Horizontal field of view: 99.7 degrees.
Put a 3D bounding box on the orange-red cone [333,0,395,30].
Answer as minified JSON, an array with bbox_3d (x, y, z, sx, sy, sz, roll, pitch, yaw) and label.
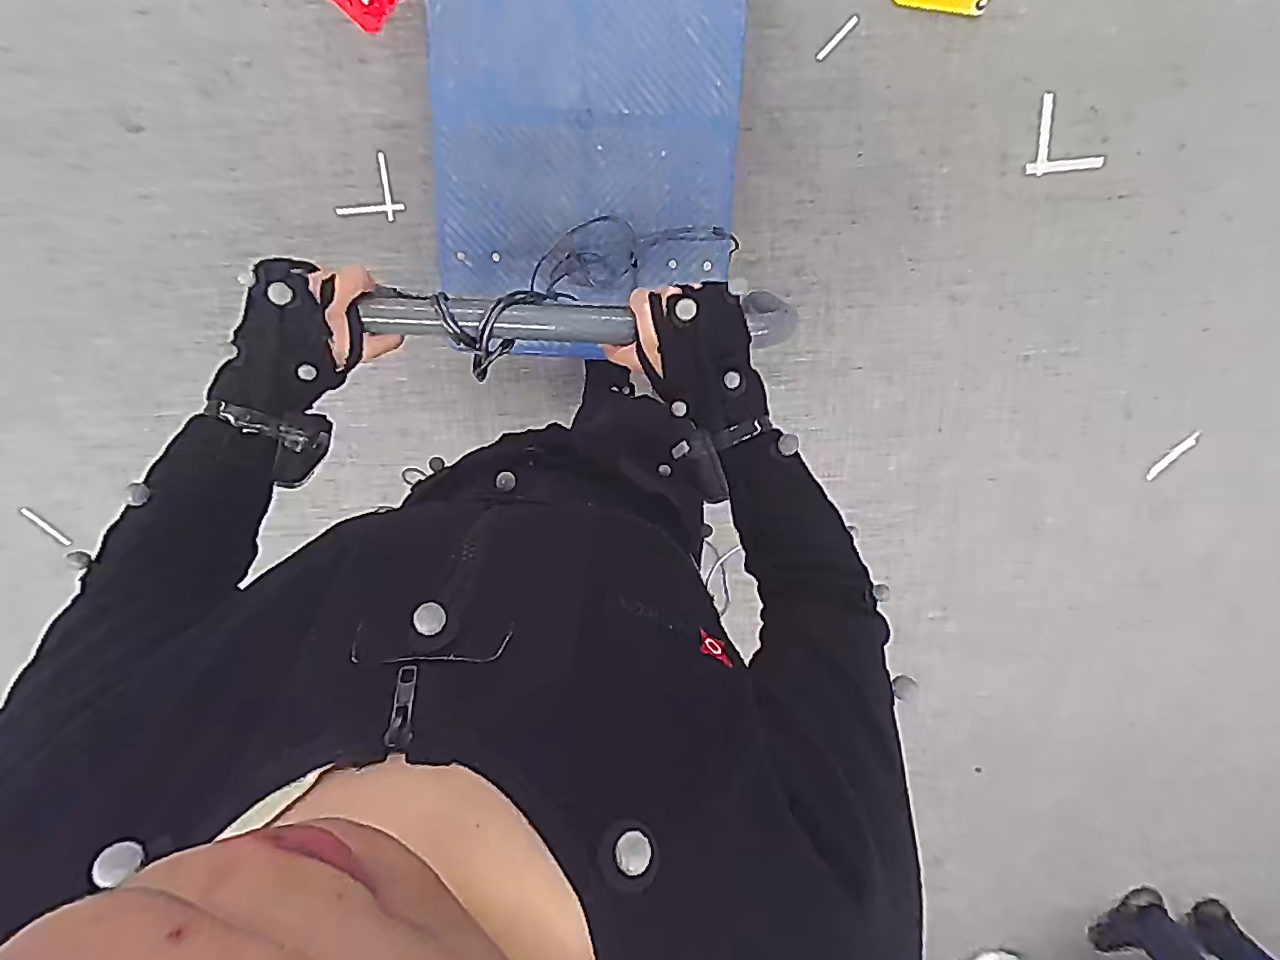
[{"bbox_3d":[-0.554,-0.999,0.908,0.198,0.360,0.199,41,99,-12],"label":"orange-red cone"}]
